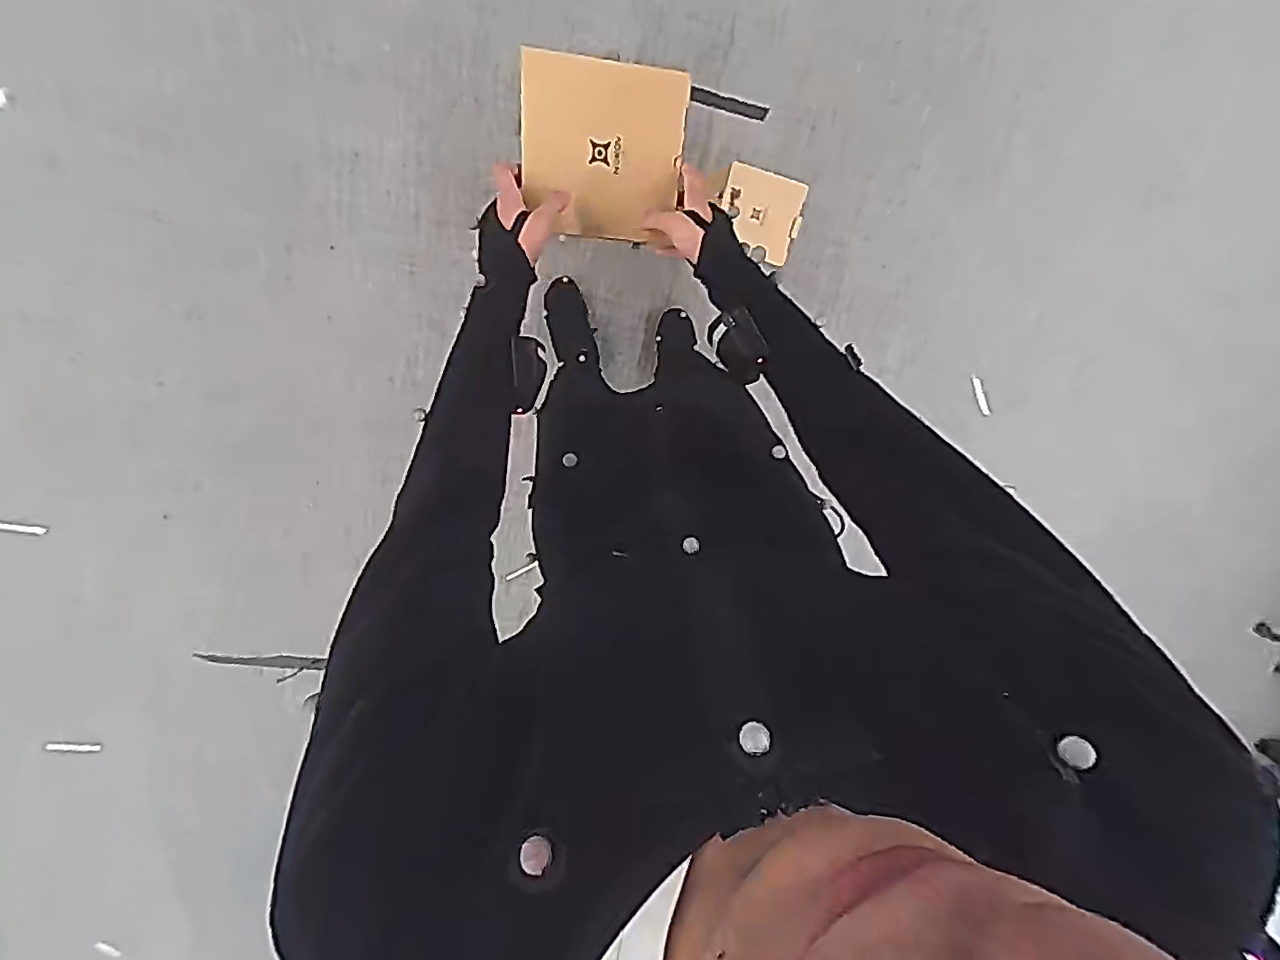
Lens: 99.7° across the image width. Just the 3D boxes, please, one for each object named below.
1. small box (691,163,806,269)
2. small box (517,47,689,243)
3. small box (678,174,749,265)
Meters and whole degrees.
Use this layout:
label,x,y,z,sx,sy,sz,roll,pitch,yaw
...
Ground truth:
label,x,y,z,sx,sy,sz,roll,pitch,yaw
small box,0.234,-0.583,1.209,0.179,0.176,0.168,11,110,-15
small box,-0.055,-0.382,0.647,0.179,0.176,0.168,0,116,-12
small box,0.209,-0.646,1.358,0.179,0.176,0.168,10,111,-14
